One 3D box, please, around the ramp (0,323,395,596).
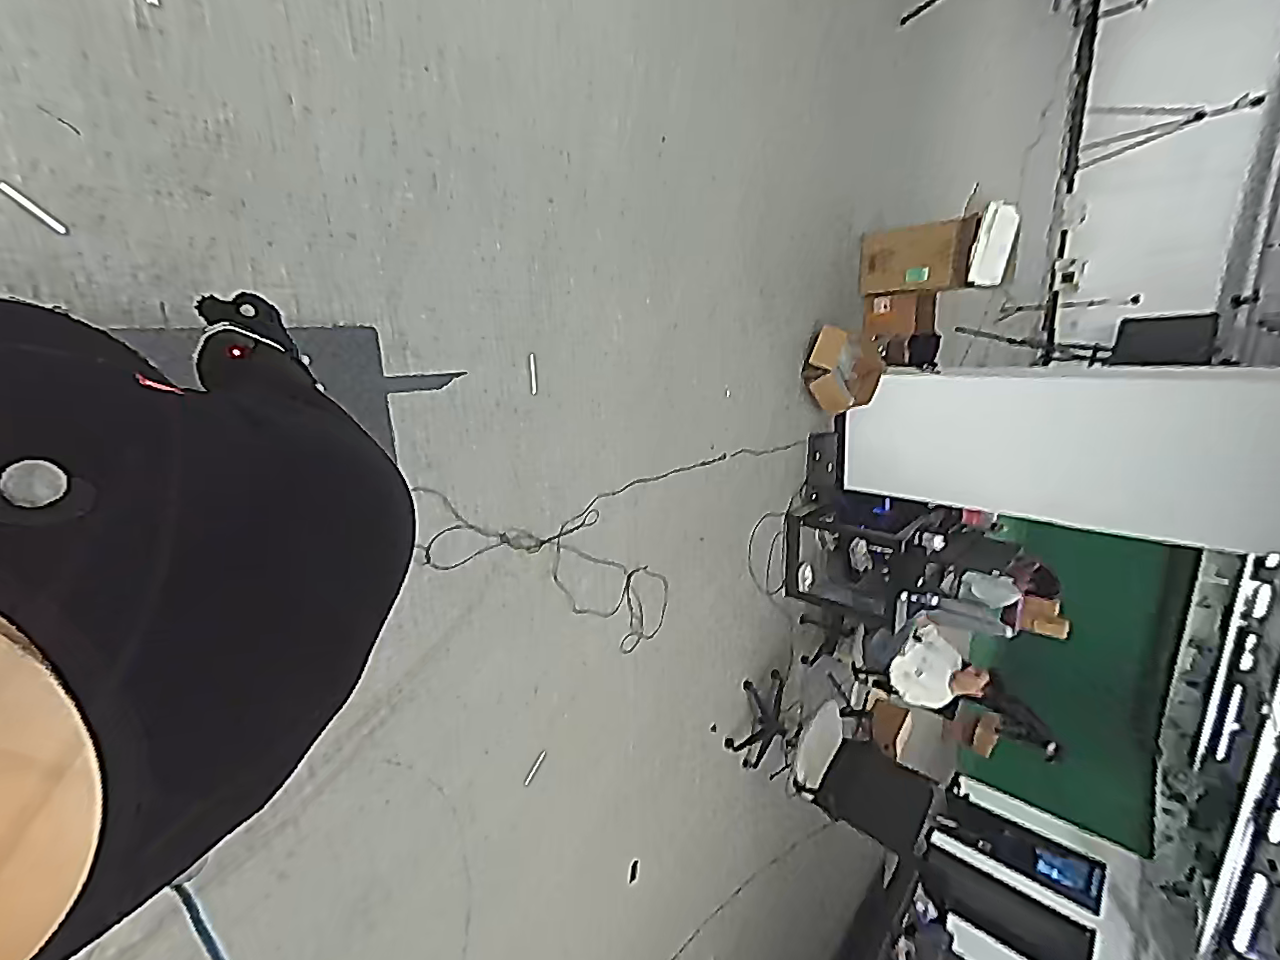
[{"bbox_3d":[-1.039,-0.094,1.199,0.991,0.206,0.509,-20,111,-43],"label":"ramp"}]
